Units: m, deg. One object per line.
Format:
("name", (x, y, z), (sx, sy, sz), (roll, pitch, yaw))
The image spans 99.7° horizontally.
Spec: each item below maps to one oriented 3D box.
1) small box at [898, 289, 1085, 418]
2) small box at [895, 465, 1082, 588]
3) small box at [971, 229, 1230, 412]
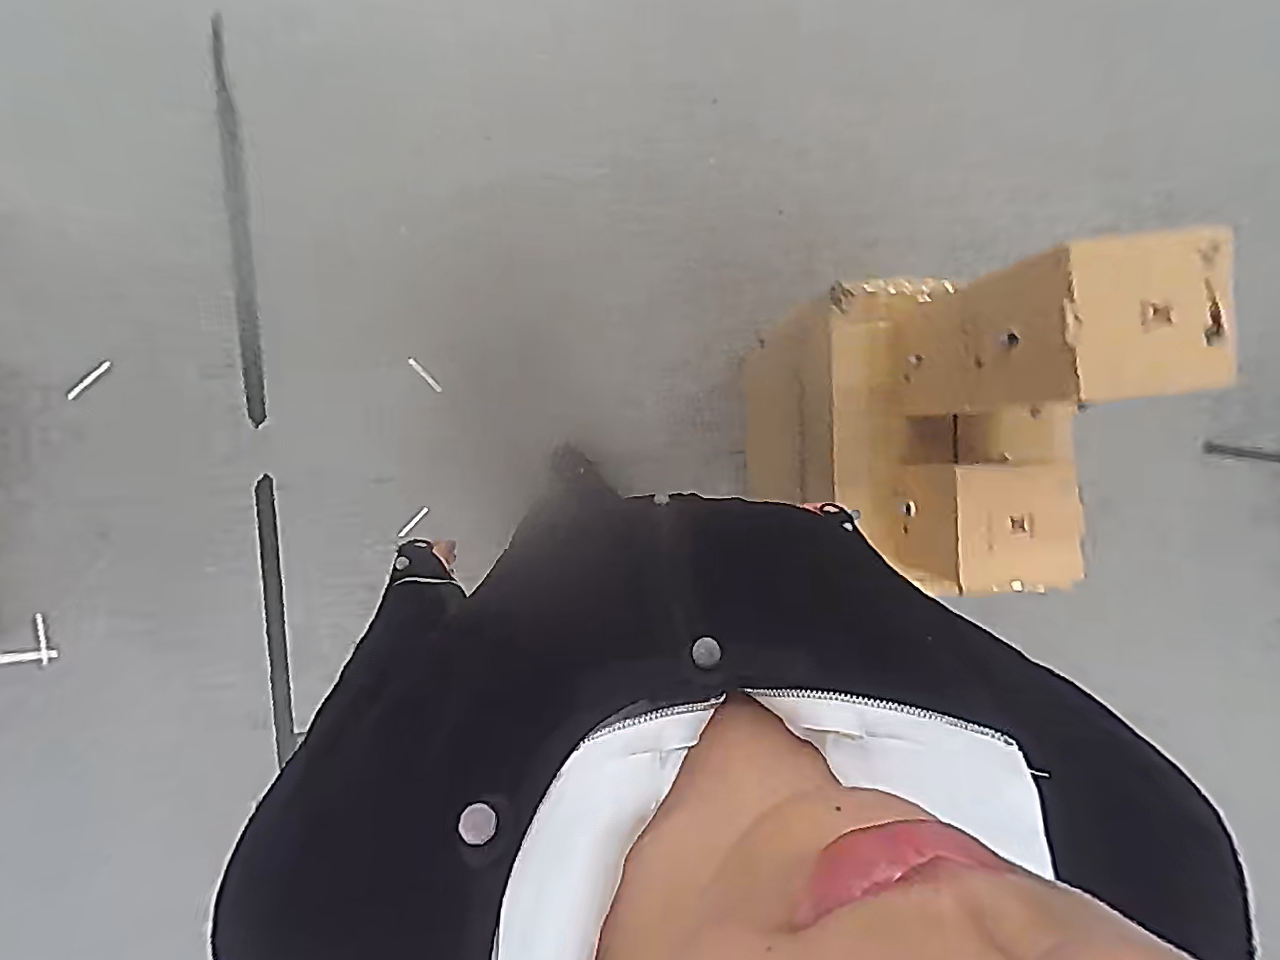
("small box", (0.514, -0.182, 0.805), (0.179, 0.176, 0.168), (-4, 93, -2))
("small box", (0.513, 0.061, 0.816), (0.179, 0.176, 0.168), (-3, 90, -1))
("small box", (0.523, -0.175, 0.642), (0.179, 0.176, 0.168), (-6, 94, -1))
